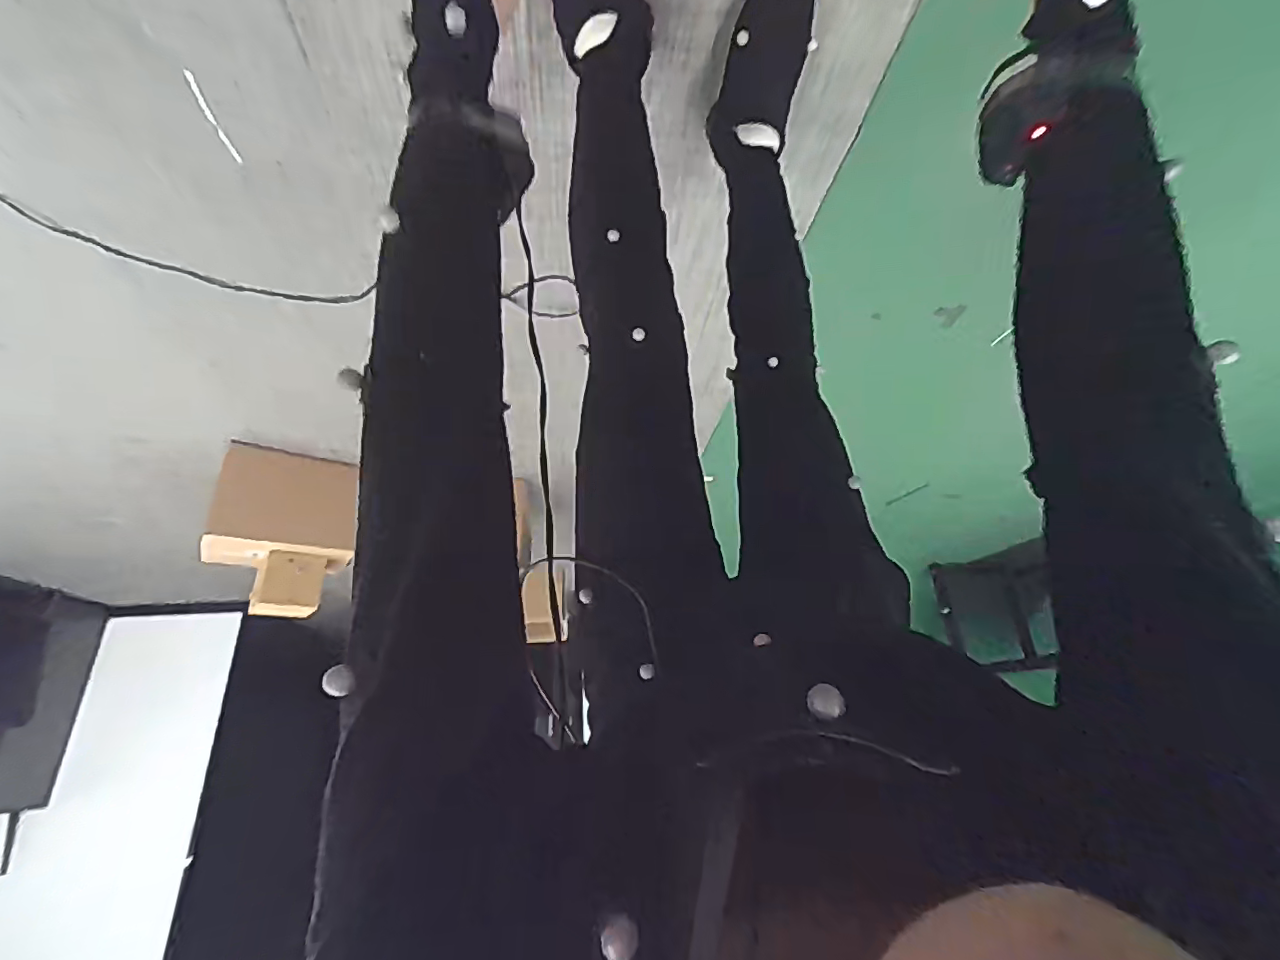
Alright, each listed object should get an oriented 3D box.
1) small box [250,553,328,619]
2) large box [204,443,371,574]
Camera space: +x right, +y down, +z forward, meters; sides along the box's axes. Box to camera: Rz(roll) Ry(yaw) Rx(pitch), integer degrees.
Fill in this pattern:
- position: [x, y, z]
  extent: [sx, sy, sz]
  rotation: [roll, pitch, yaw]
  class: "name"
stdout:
- position: [-1.132, 0.345, 1.749]
  extent: [0.168, 0.176, 0.179]
  rotation: [18, 149, -37]
  class: "small box"
- position: [-1.174, 0.111, 1.819]
  extent: [0.408, 0.320, 0.320]
  rotation: [16, 149, -33]
  class: "large box"
